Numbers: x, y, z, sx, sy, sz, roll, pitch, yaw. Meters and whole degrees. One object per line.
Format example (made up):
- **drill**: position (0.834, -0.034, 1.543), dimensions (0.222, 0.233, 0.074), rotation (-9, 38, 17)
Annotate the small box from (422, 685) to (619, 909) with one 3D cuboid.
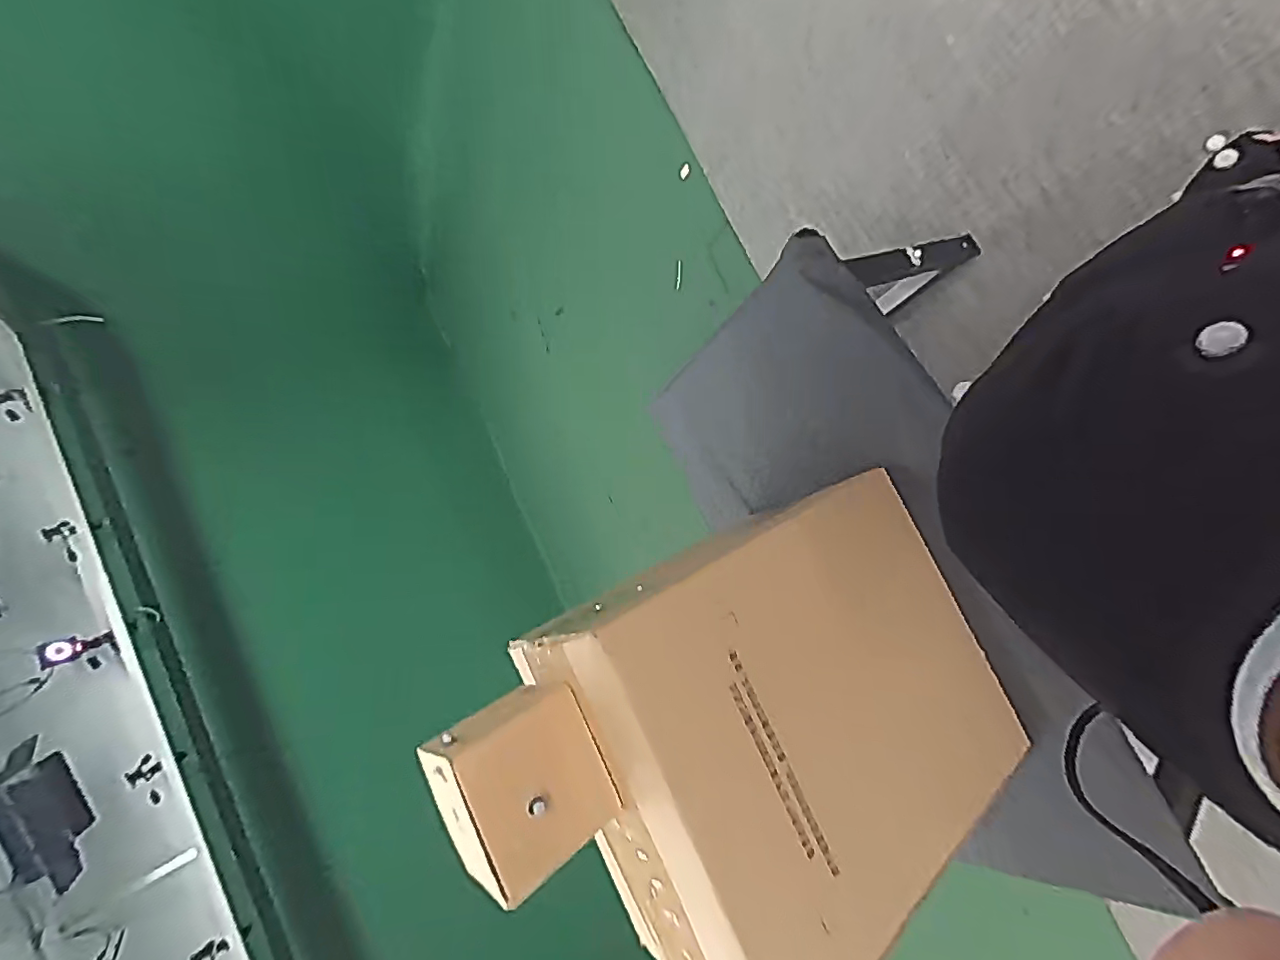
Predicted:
- **small box**: position (-0.155, 0.392, 0.707), dimensions (0.168, 0.176, 0.179), rotation (-31, 83, 51)
